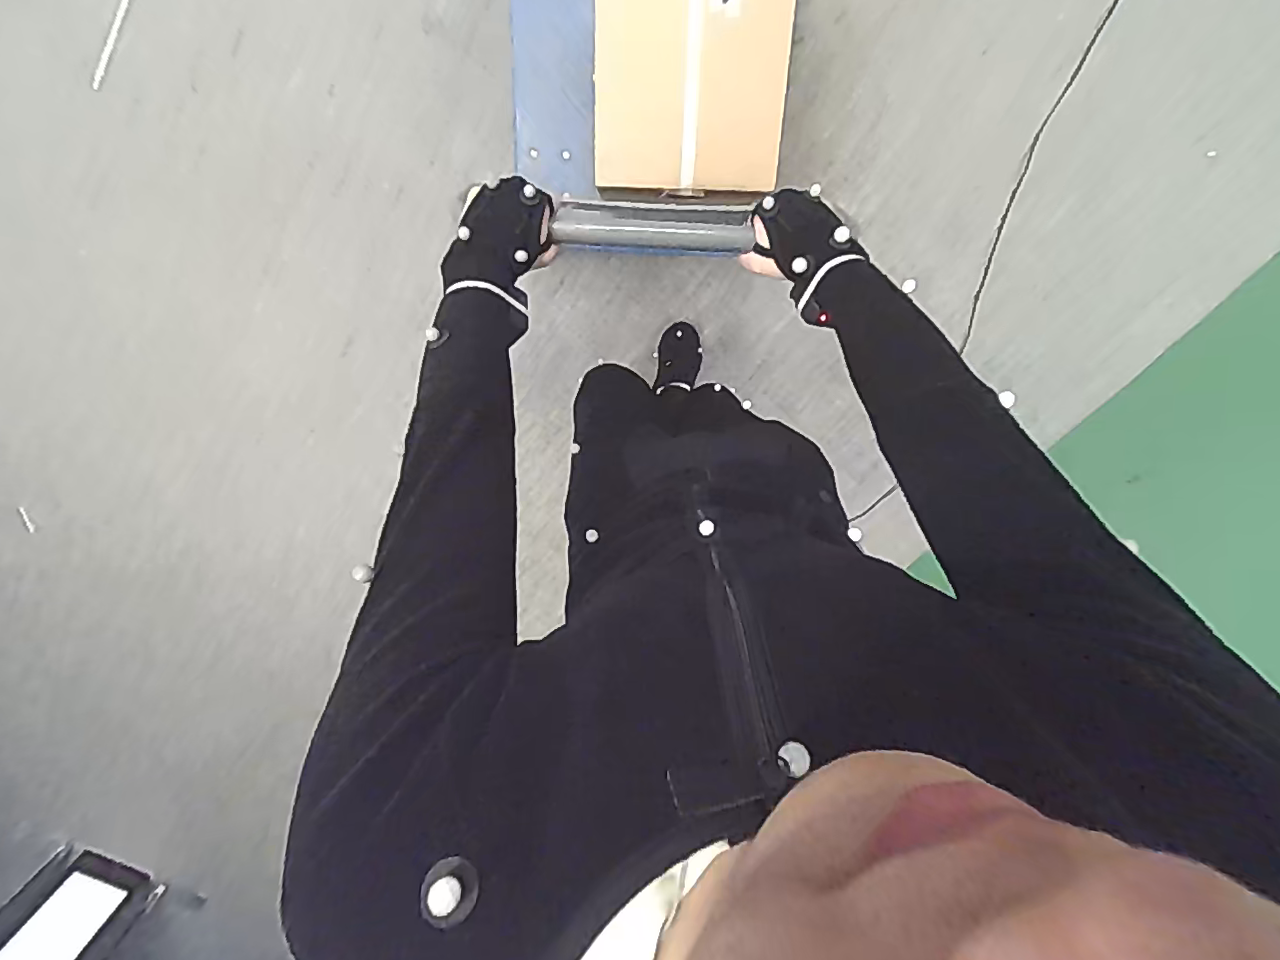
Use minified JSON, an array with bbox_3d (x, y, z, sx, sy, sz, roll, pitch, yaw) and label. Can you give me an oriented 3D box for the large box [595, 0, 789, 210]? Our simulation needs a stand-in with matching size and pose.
[{"bbox_3d":[0.083,-0.747,1.024,0.320,0.320,0.408,1,111,-1],"label":"large box"}]
